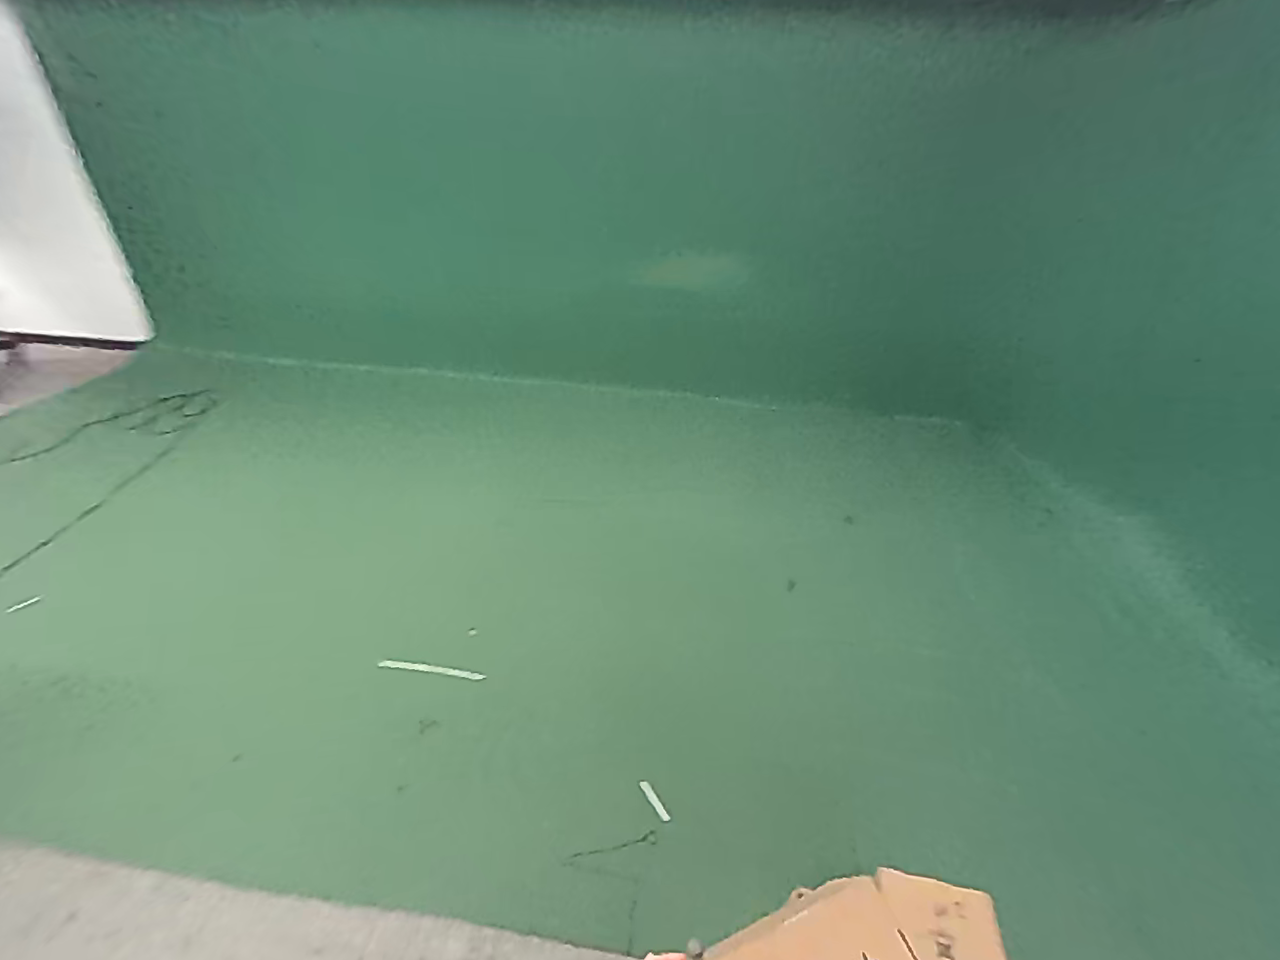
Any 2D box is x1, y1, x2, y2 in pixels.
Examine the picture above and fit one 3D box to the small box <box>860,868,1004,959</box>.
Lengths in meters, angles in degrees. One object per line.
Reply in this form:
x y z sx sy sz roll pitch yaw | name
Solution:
0.453 0.763 0.847 0.168 0.176 0.179 9 34 11 | small box
